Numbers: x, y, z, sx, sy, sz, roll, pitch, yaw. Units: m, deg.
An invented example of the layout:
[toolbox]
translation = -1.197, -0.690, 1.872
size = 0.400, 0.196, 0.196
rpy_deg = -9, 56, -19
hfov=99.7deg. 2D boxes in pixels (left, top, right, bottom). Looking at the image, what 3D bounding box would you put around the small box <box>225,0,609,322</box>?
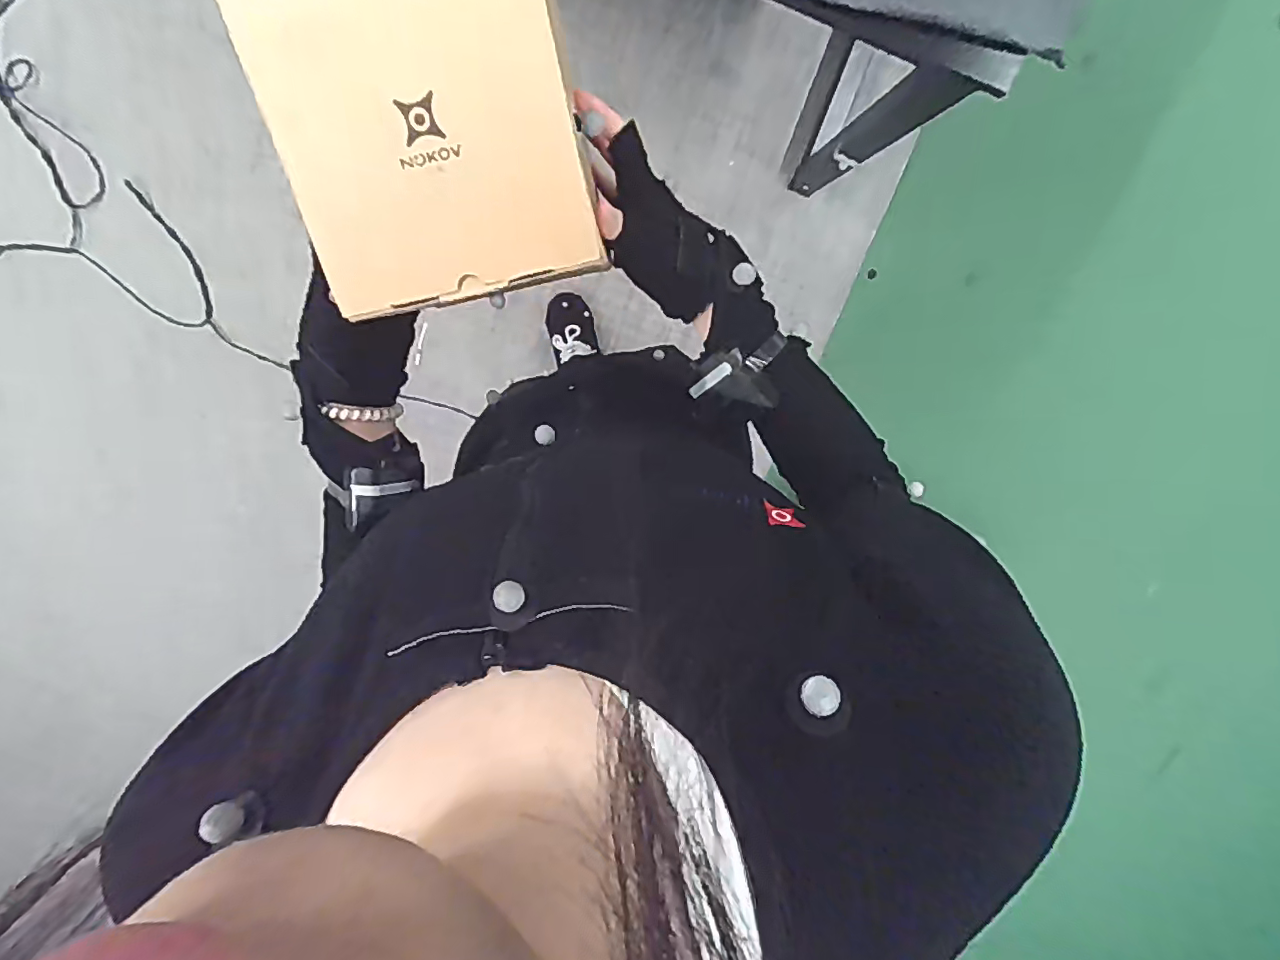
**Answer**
[small box]
translation = -0.120, -0.221, 0.375
size = 0.168, 0.176, 0.179
rpy_deg = -12, 112, 3
